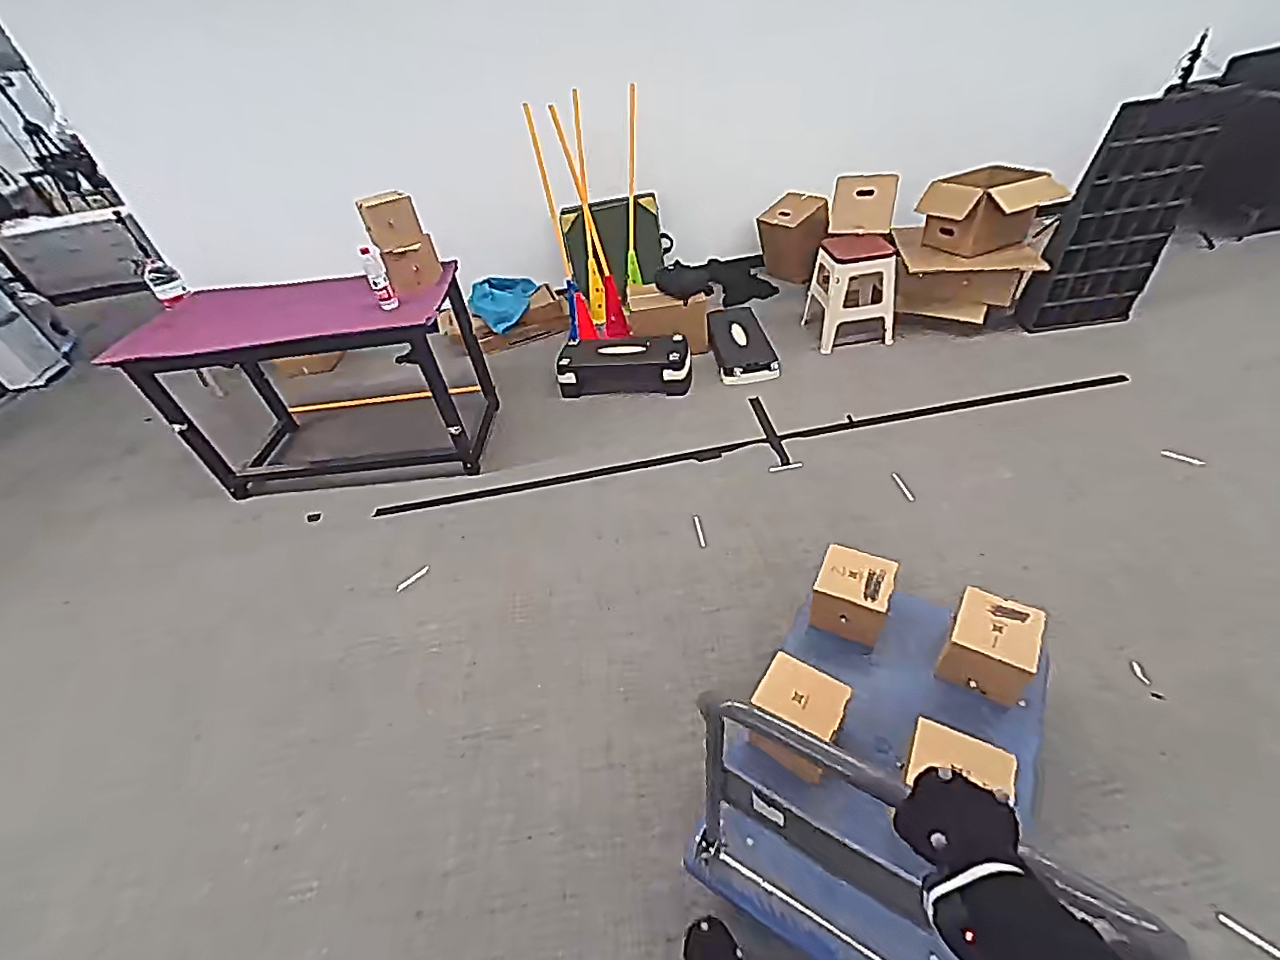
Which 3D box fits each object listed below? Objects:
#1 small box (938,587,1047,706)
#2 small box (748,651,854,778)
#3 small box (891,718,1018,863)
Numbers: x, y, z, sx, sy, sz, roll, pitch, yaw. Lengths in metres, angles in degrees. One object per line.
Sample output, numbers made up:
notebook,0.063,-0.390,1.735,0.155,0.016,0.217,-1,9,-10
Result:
small box,0.829,0.394,1.281,0.168,0.176,0.179,20,50,29
small box,0.356,0.530,1.218,0.179,0.176,0.168,23,50,29
small box,0.616,0.617,1.072,0.179,0.176,0.168,17,48,27
